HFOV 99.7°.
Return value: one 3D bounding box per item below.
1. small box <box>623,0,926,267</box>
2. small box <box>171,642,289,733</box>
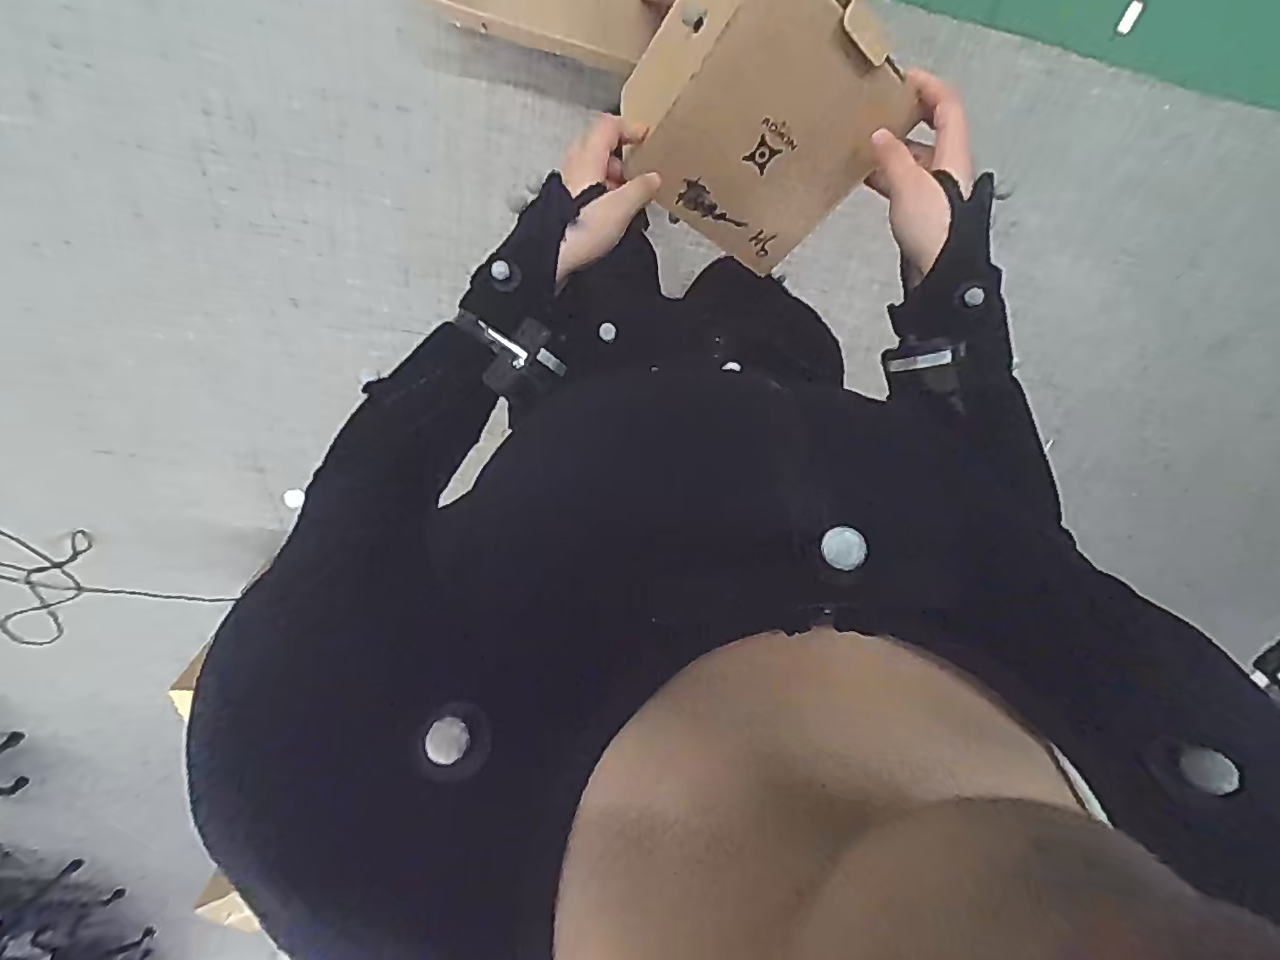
[{"bbox_3d":[0.095,-0.332,0.460,0.168,0.176,0.179,22,139,-29],"label":"small box"},{"bbox_3d":[-1.105,0.561,1.473,0.179,0.176,0.168,3,123,-5],"label":"small box"}]
